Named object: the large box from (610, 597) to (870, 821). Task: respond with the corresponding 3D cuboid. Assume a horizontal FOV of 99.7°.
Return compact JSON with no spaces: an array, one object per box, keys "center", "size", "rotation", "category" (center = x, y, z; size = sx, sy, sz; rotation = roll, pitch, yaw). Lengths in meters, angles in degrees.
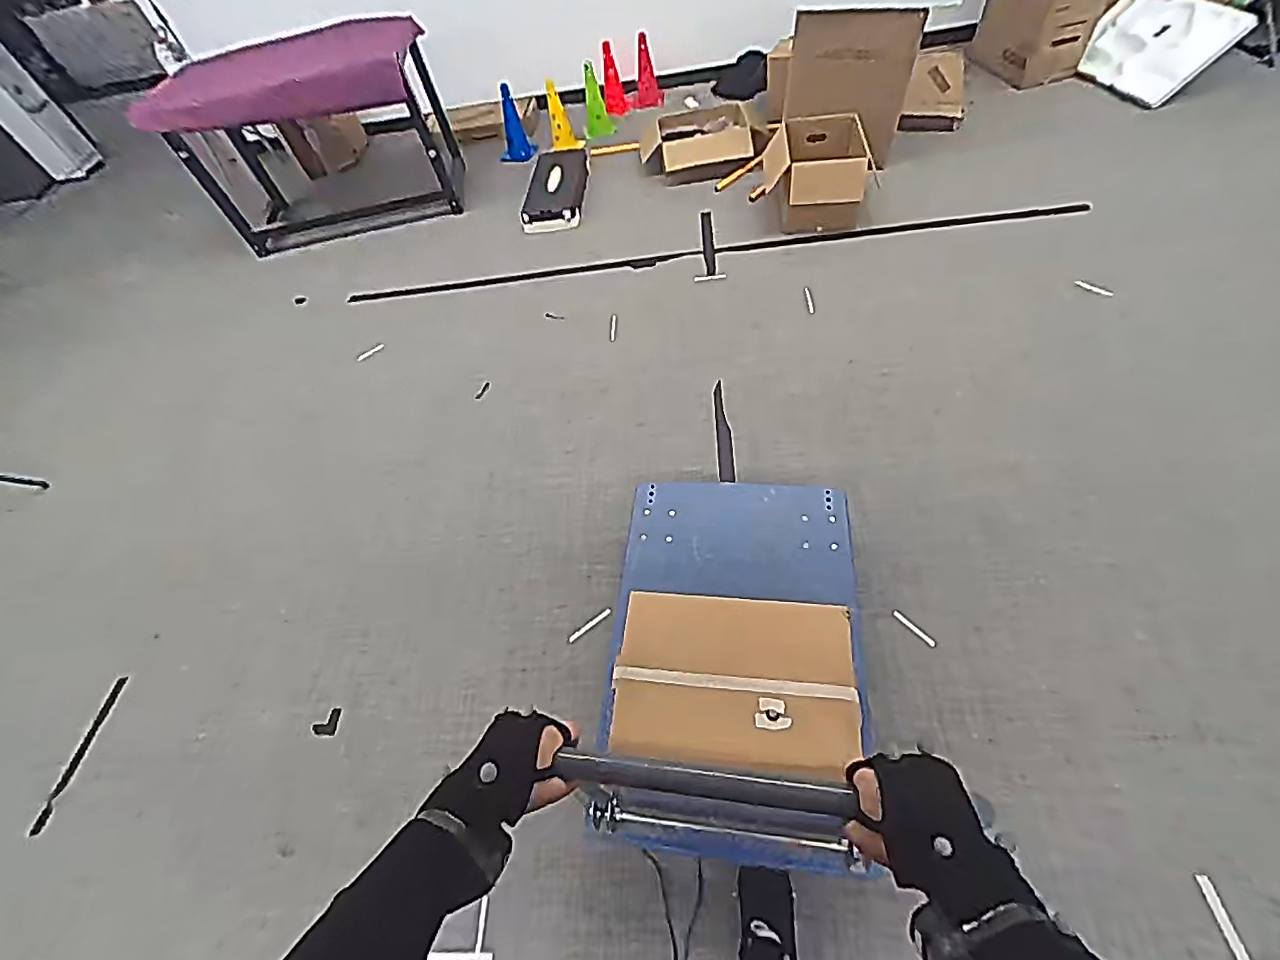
[{"center":[0.178,0.439,1.030],"size":[0.408,0.320,0.320],"rotation":[2,56,10],"category":"large box"}]
